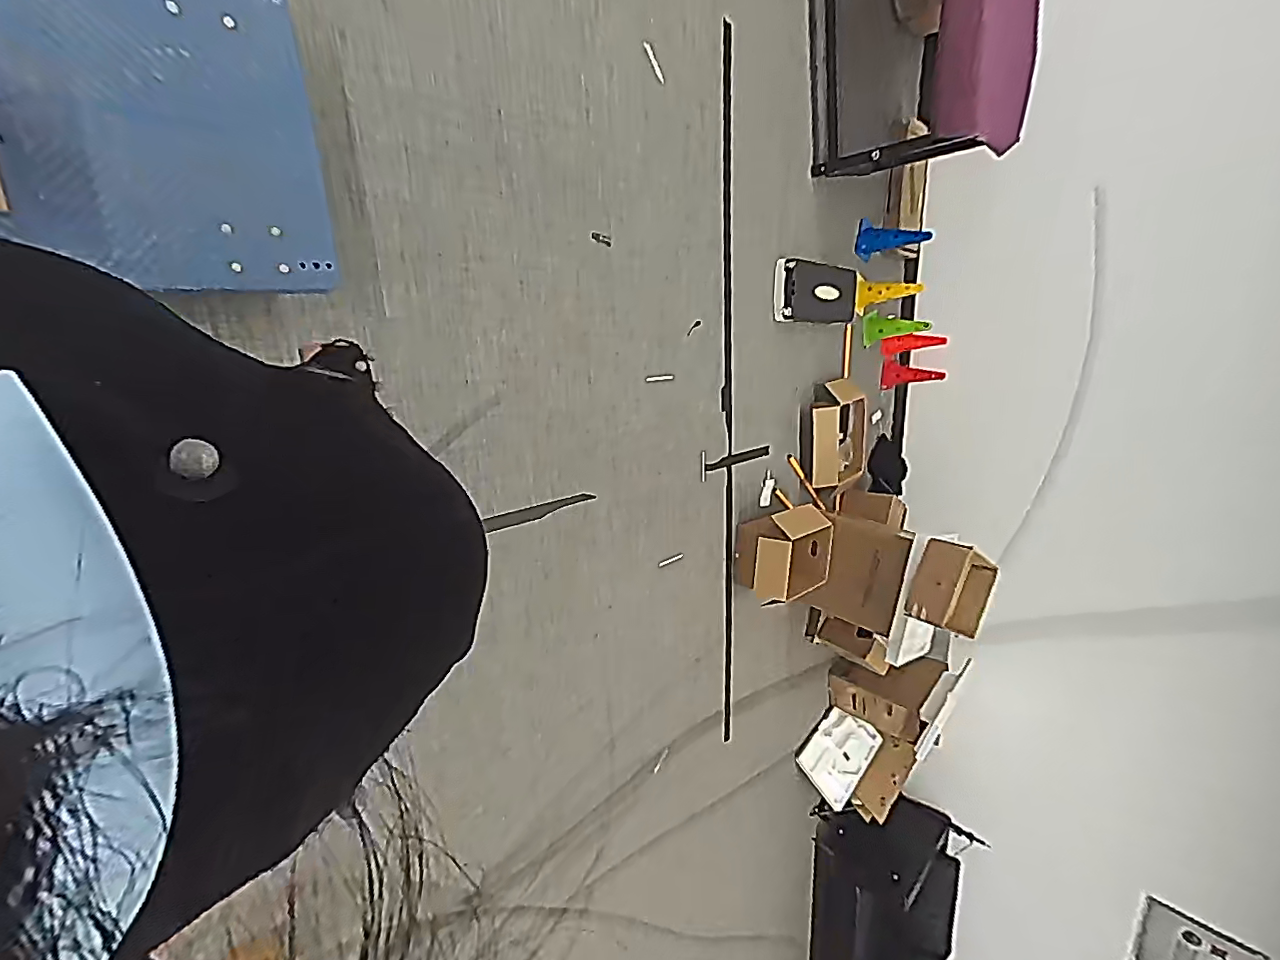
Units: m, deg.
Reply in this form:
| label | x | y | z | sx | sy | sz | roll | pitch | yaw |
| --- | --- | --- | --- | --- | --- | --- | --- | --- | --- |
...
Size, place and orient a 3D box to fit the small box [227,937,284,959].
| label | x | y | z | sx | sy | sz | roll | pitch | yaw |
| --- | --- | --- | --- | --- | --- | --- | --- | --- | --- |
| small box | -1.002 | 1.339 | 1.385 | 0.168 | 0.176 | 0.179 | -30 | 120 | -38 |
